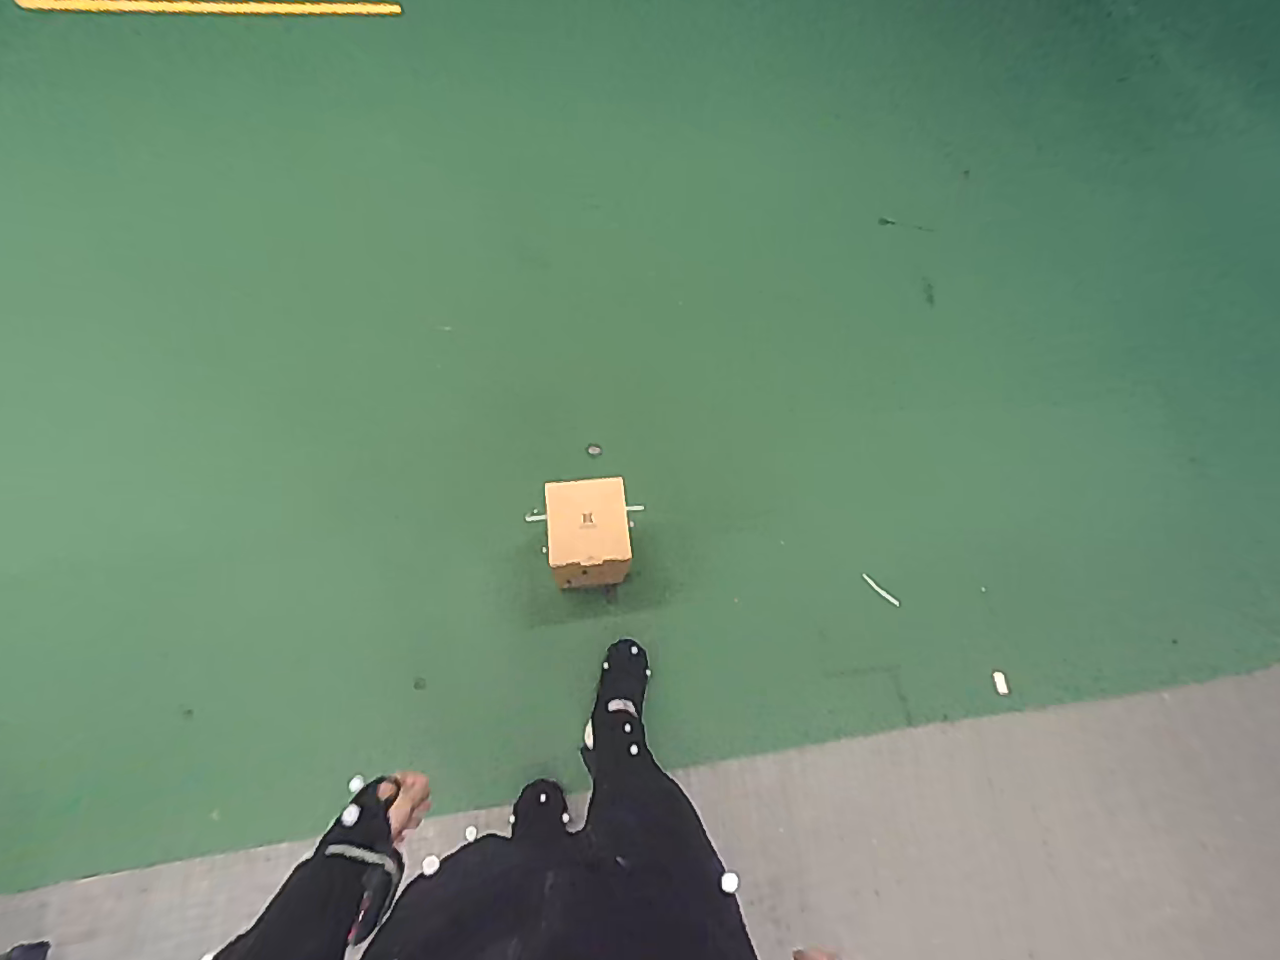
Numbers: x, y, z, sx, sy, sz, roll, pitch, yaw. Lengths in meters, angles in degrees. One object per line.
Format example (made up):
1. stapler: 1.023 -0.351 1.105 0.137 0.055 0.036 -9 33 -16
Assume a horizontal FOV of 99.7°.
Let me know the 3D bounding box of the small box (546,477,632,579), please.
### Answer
1. small box: -0.114 0.109 1.177 0.168 0.176 0.179 -5 71 -8
